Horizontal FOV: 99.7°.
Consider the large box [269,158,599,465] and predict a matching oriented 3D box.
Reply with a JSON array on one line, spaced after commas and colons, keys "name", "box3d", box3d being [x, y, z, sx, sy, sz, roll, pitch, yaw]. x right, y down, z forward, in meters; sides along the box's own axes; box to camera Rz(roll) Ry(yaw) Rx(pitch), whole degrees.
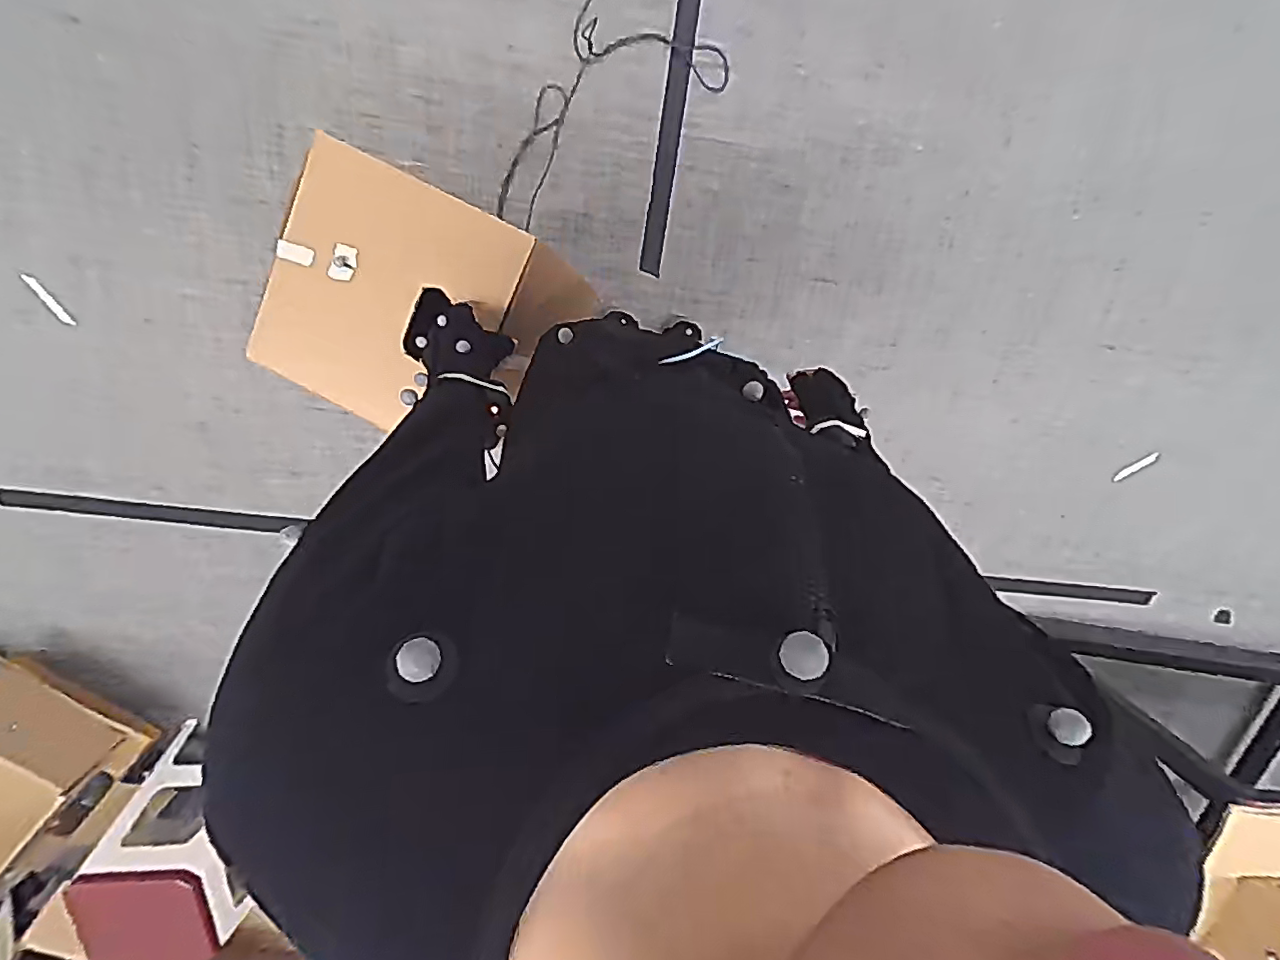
[{"name": "large box", "box3d": [-0.302, -0.254, 0.902, 0.320, 0.408, 0.320, 27, 102, 1]}]
